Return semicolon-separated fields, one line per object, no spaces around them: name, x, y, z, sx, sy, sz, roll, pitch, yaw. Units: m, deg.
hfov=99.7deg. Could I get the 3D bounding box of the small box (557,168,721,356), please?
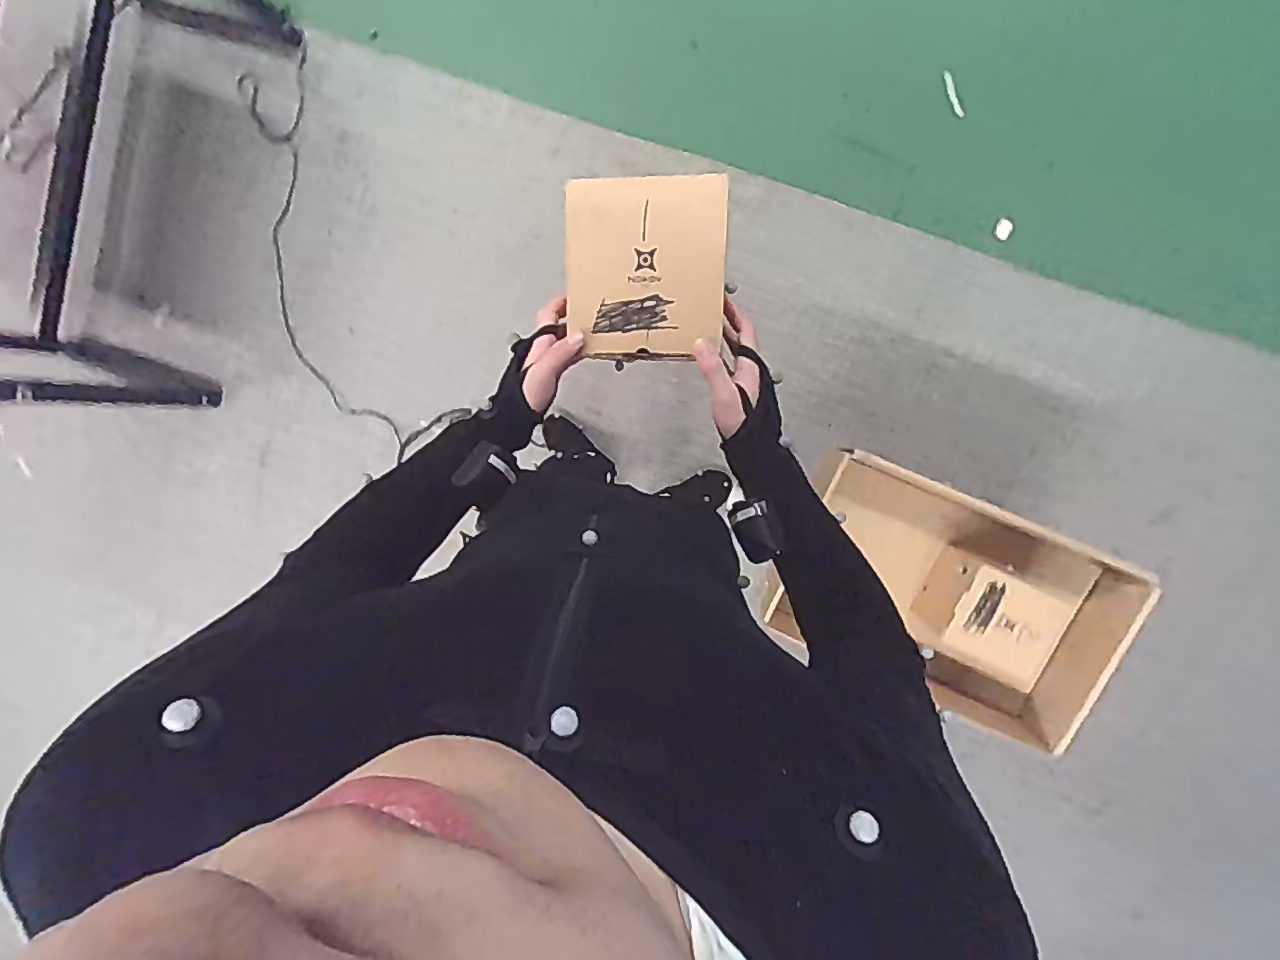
small box;0.007;-0.235;0.627;0.168;0.176;0.179;2;101;8
